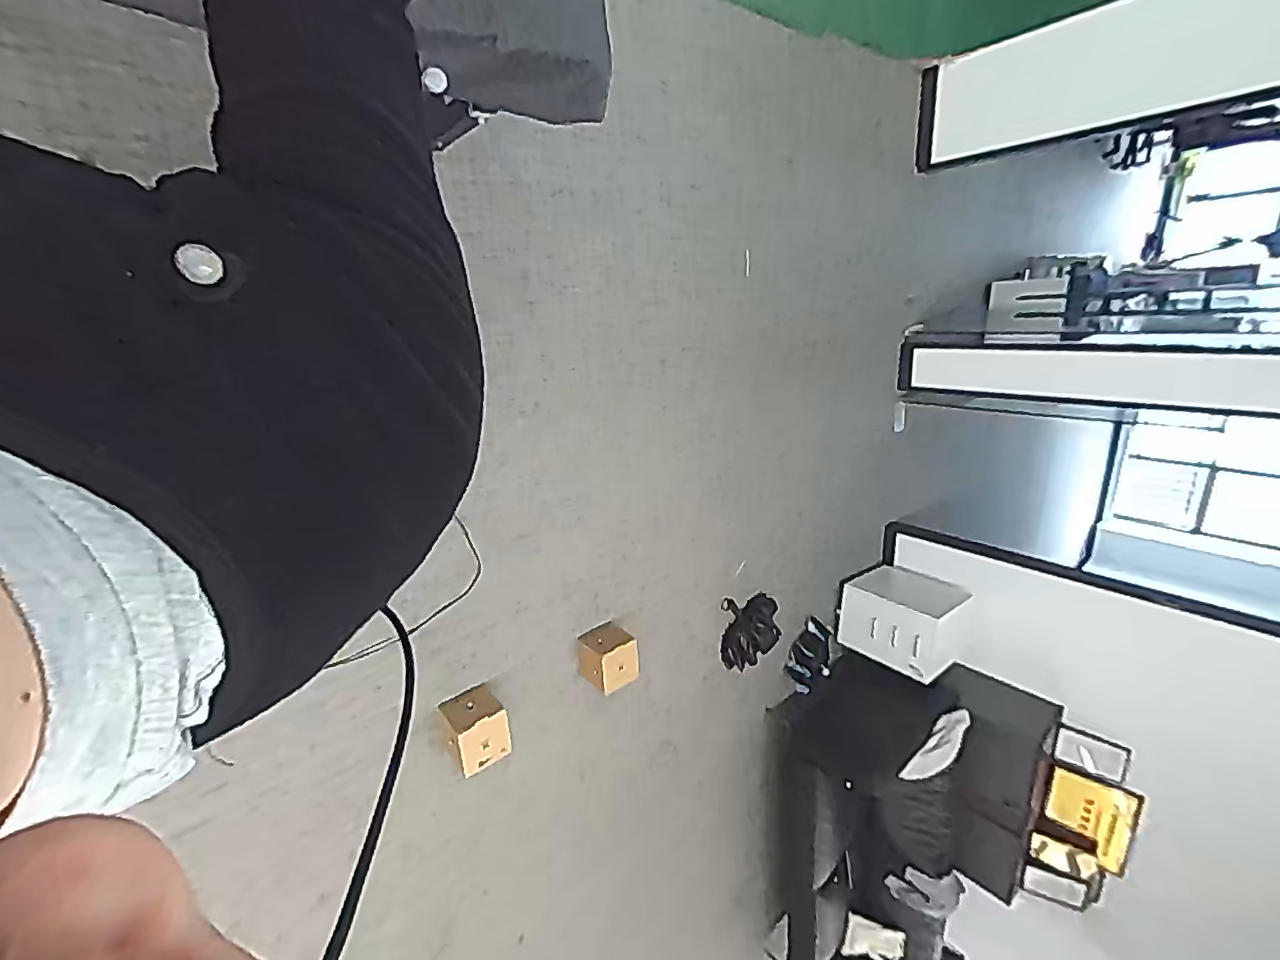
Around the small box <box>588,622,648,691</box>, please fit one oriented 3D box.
[{"bbox_3d":[-0.088,0.677,2.102,0.168,0.176,0.179,-19,114,-35],"label":"small box"}]

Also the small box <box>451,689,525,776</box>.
[{"bbox_3d":[-0.503,0.815,1.774,0.168,0.176,0.179,-18,112,-37],"label":"small box"}]
